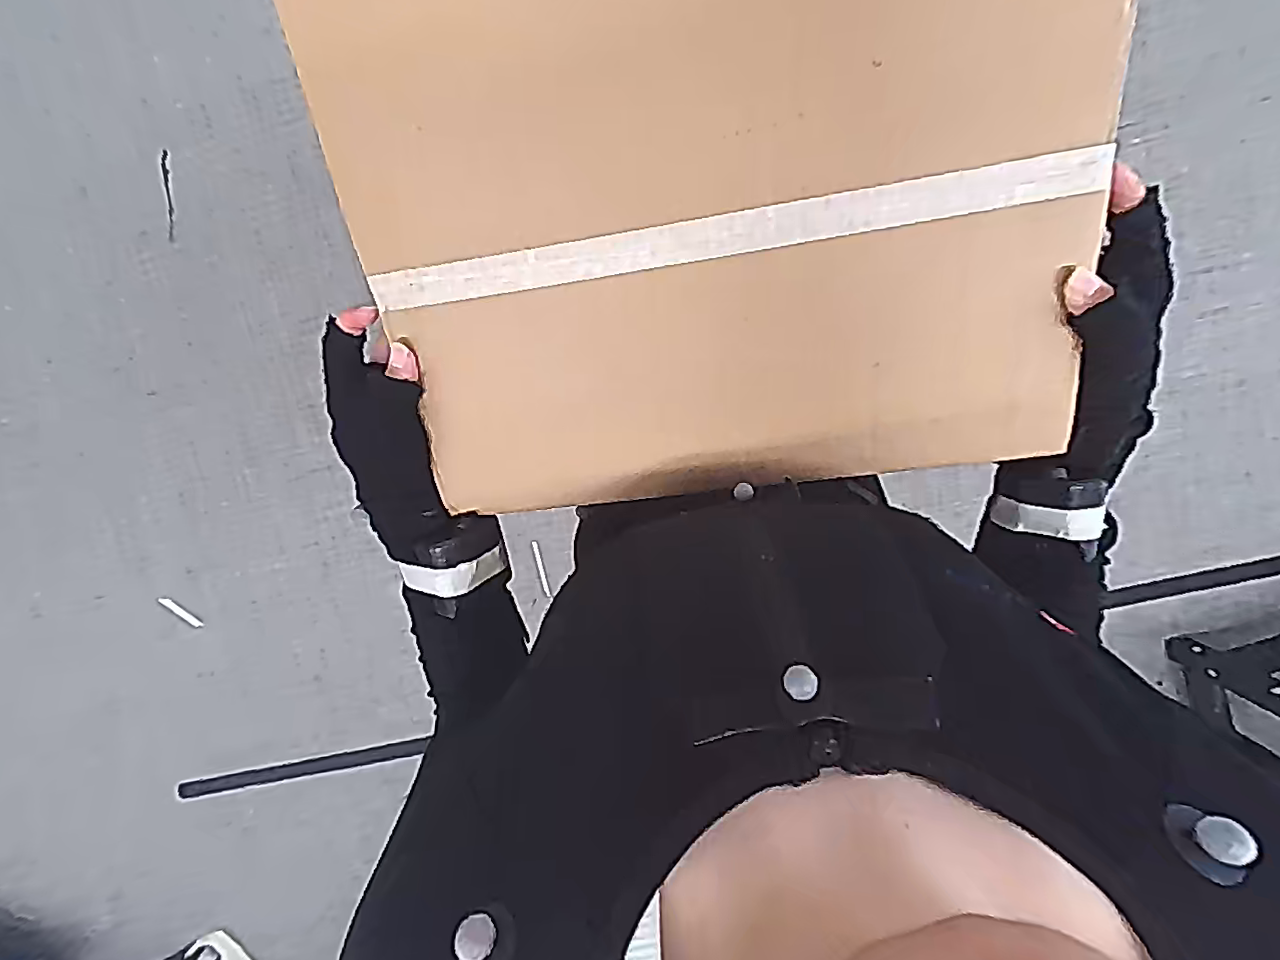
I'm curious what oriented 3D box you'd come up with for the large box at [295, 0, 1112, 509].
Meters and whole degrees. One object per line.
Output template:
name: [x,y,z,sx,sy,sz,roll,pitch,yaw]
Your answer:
large box: [0.051,-0.201,0.444,0.408,0.320,0.320,-6,113,8]
